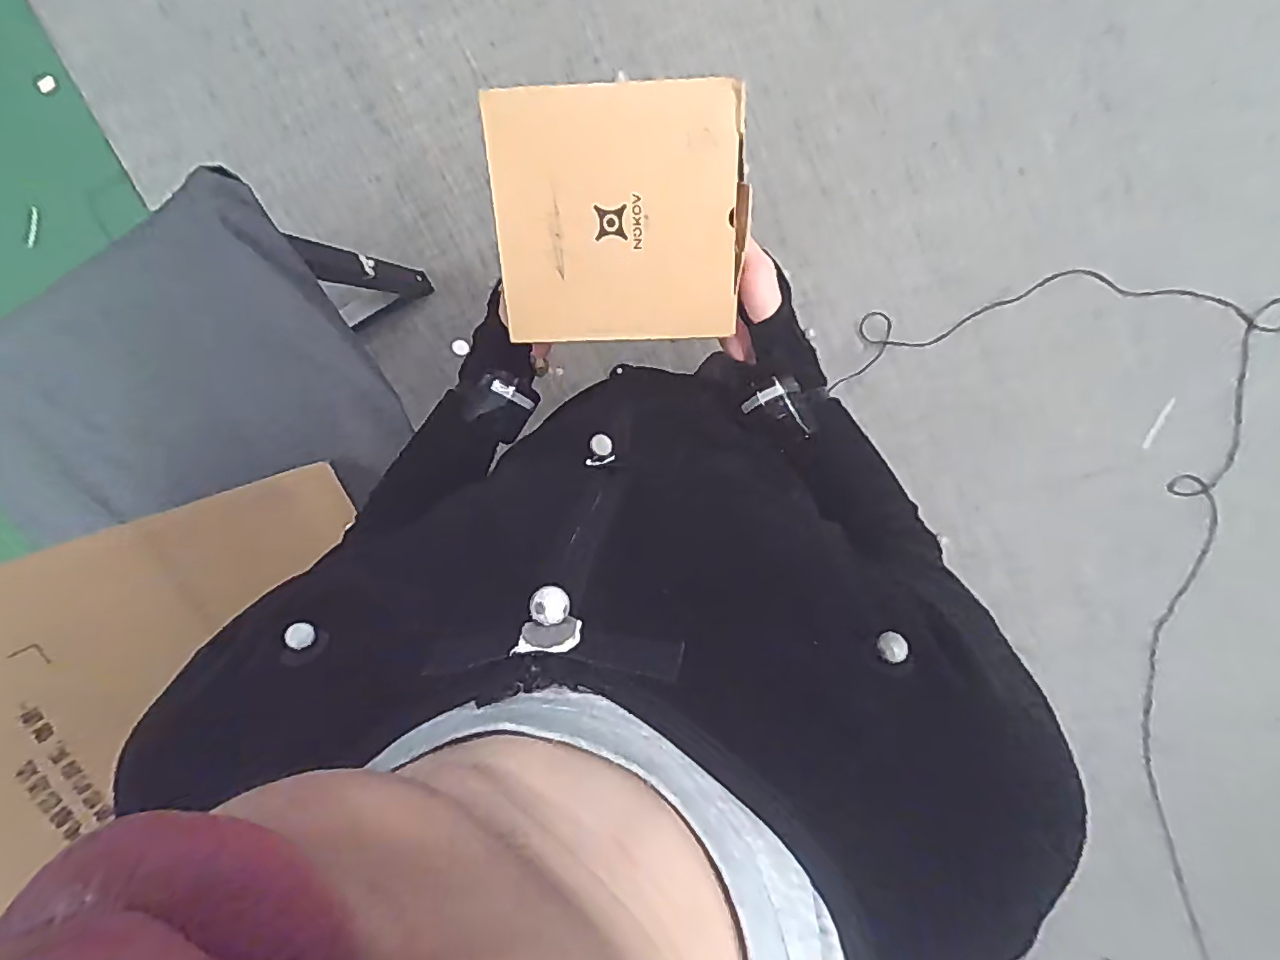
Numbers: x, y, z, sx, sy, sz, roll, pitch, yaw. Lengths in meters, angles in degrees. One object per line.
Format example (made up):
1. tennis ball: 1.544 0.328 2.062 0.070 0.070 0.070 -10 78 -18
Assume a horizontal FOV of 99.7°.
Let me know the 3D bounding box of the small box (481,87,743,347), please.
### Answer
1. small box: -0.014 -0.212 0.457 0.179 0.176 0.168 -1 113 4
